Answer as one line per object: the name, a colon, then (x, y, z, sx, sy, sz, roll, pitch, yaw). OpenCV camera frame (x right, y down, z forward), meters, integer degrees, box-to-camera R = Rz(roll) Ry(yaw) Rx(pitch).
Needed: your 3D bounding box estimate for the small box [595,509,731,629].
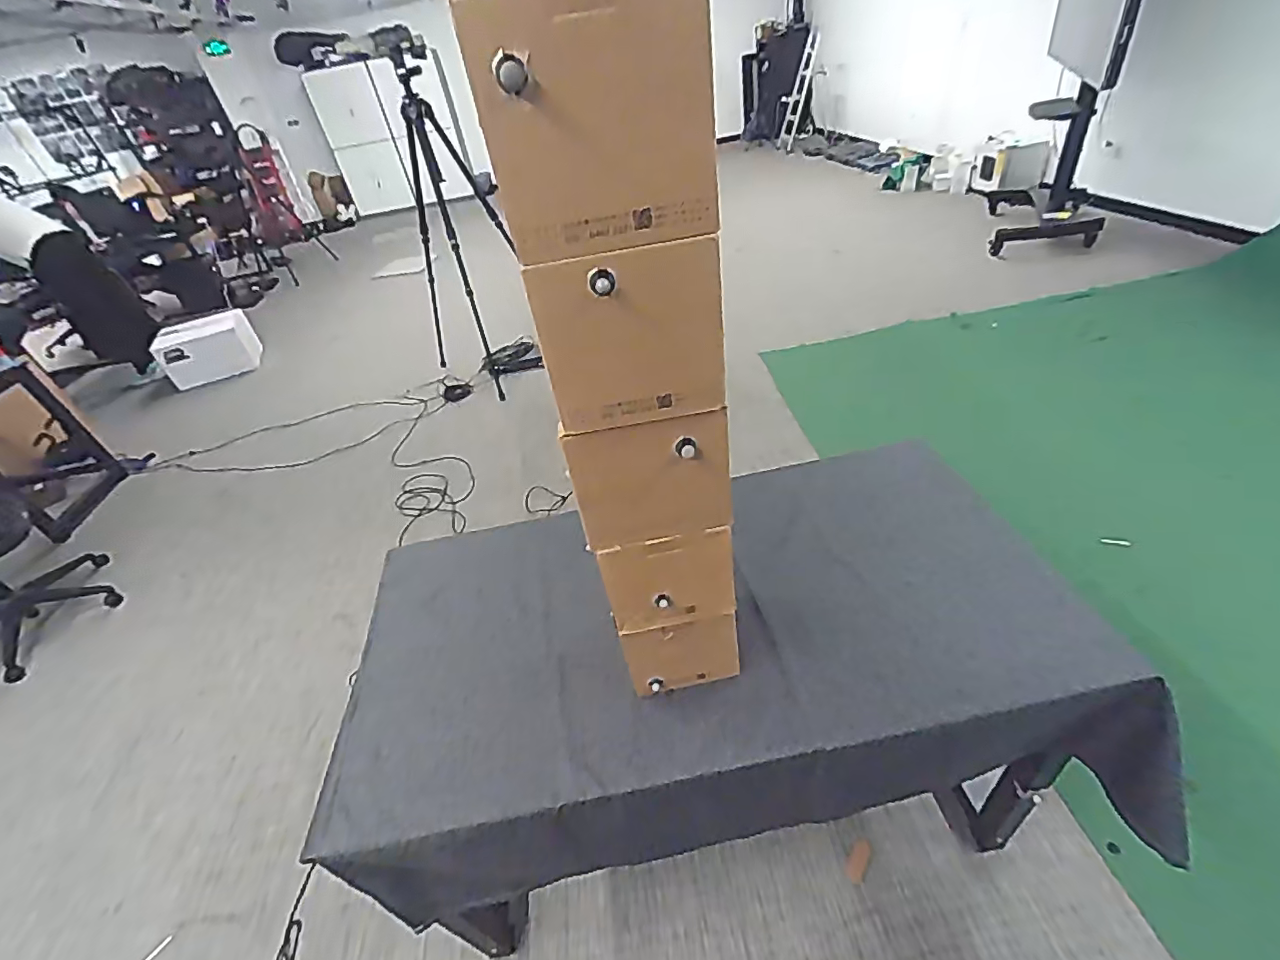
small box: (0.027, 0.081, 0.765, 0.168, 0.176, 0.179, -12, 39, -1)

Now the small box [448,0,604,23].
small box: (-0.062, -0.424, 0.355, 0.168, 0.176, 0.179, -8, 39, 1)

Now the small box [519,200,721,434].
small box: (-0.016, -0.170, 0.559, 0.168, 0.176, 0.179, -10, 38, 1)

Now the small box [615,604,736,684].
small box: (0.051, 0.205, 0.867, 0.168, 0.176, 0.179, -12, 38, -1)

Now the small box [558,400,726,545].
small box: (0.004, -0.044, 0.660, 0.179, 0.176, 0.168, -11, 39, 1)
